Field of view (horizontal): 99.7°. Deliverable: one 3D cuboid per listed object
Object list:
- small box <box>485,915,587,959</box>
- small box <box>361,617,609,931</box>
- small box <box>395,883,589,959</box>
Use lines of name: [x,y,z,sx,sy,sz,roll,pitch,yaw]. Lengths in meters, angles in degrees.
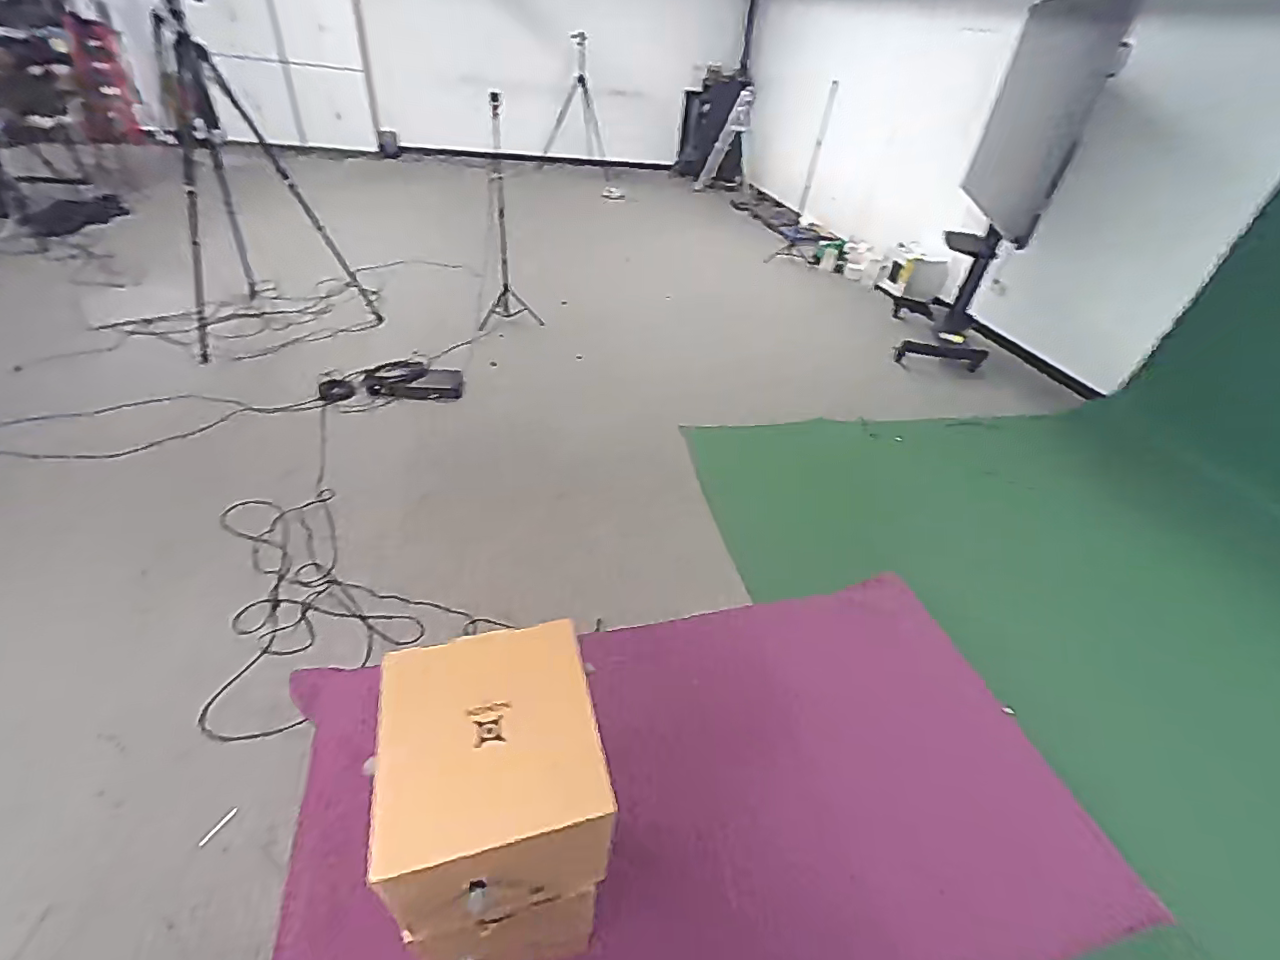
small box: [-0.165,0.496,0.681,0.168,0.176,0.179,-5,41,-15]
small box: [-0.126,0.252,0.468,0.168,0.176,0.179,-7,40,-16]
small box: [-0.148,0.377,0.570,0.168,0.176,0.179,-5,40,-15]
